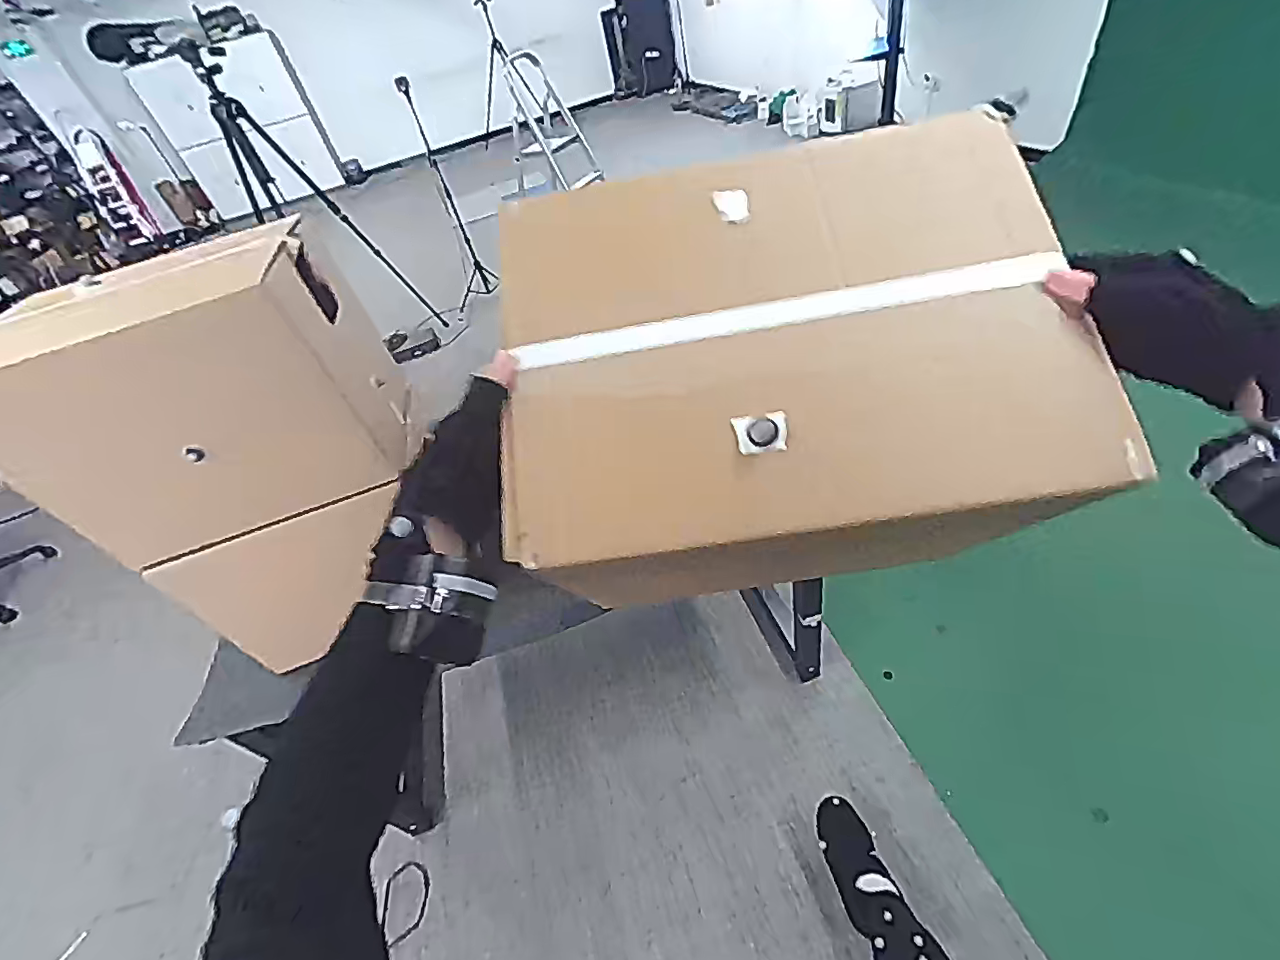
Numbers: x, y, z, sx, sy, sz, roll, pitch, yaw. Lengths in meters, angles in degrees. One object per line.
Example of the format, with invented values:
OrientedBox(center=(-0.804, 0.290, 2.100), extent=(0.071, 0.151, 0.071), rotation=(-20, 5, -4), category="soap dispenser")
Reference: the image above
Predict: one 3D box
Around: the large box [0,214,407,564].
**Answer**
OrientedBox(center=(-0.611, -0.139, 0.804), extent=(0.408, 0.320, 0.320), rotation=(-21, 42, -4), category="large box")
